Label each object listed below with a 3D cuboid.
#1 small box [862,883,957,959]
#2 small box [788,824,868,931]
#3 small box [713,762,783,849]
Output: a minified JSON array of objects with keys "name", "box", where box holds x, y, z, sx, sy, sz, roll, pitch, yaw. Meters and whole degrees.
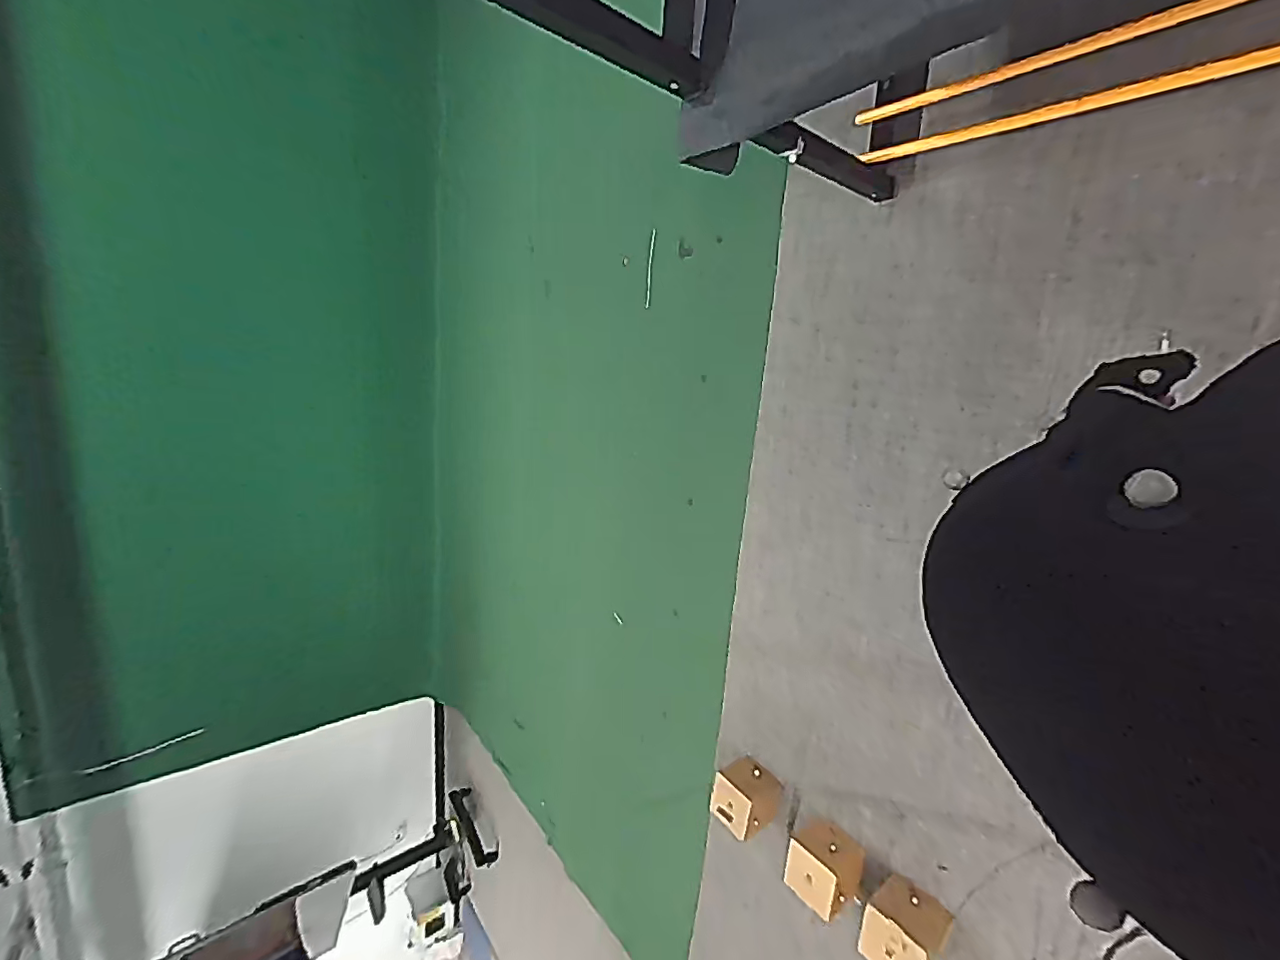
[{"name":"small box","box":[0.746,1.281,1.493,0.168,0.176,0.179,19,108,48]},{"name":"small box","box":[0.590,1.231,1.690,0.168,0.176,0.179,18,108,49]},{"name":"small box","box":[0.389,1.156,1.934,0.168,0.176,0.179,24,110,48]}]
